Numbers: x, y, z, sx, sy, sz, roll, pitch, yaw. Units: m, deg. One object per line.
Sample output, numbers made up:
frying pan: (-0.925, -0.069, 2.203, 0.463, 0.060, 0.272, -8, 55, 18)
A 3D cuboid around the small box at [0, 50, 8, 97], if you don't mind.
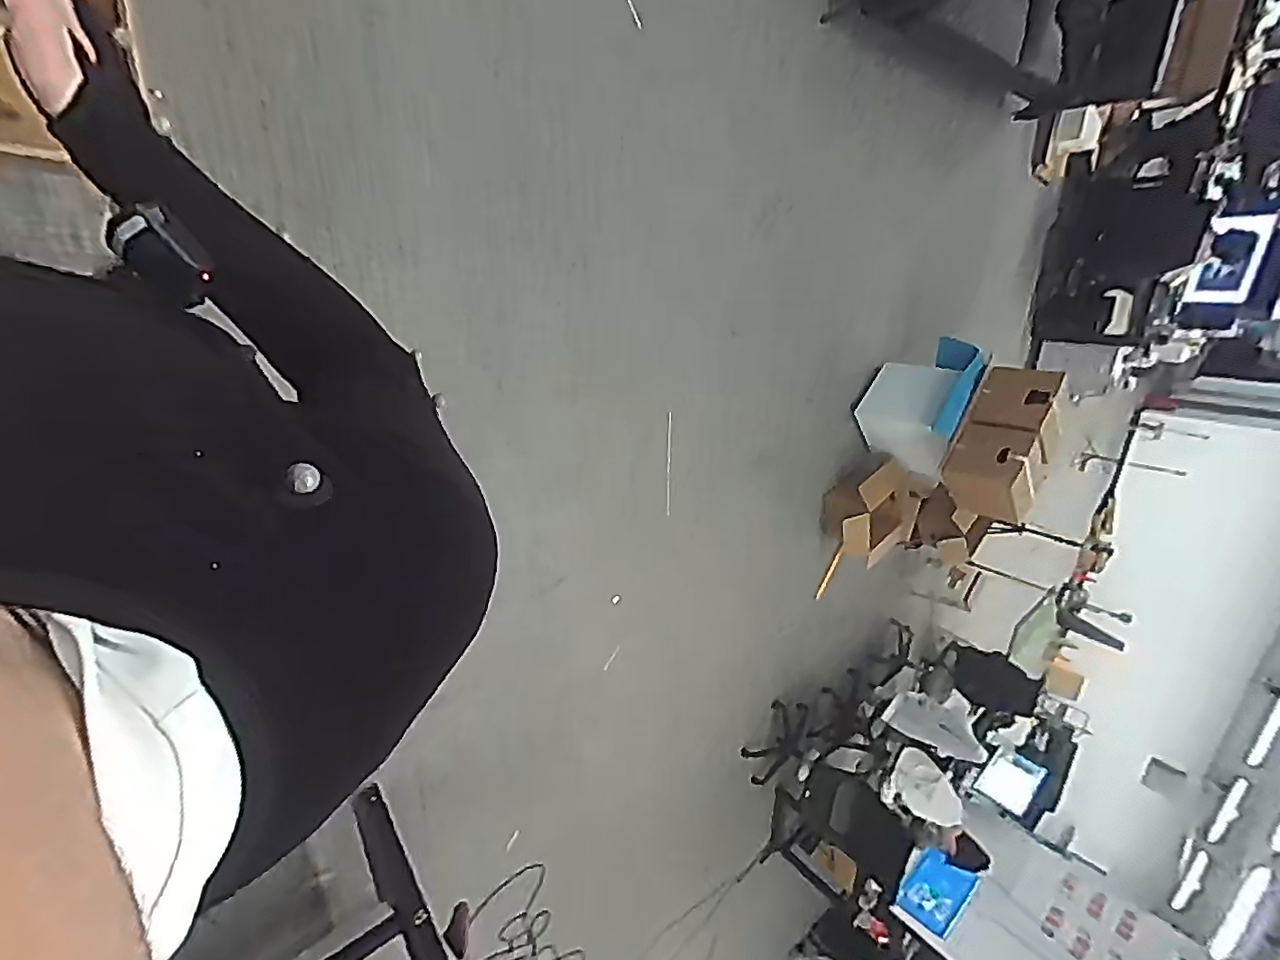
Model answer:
small box: (-0.860, -0.563, 0.603, 0.168, 0.176, 0.179, -10, 112, -40)
